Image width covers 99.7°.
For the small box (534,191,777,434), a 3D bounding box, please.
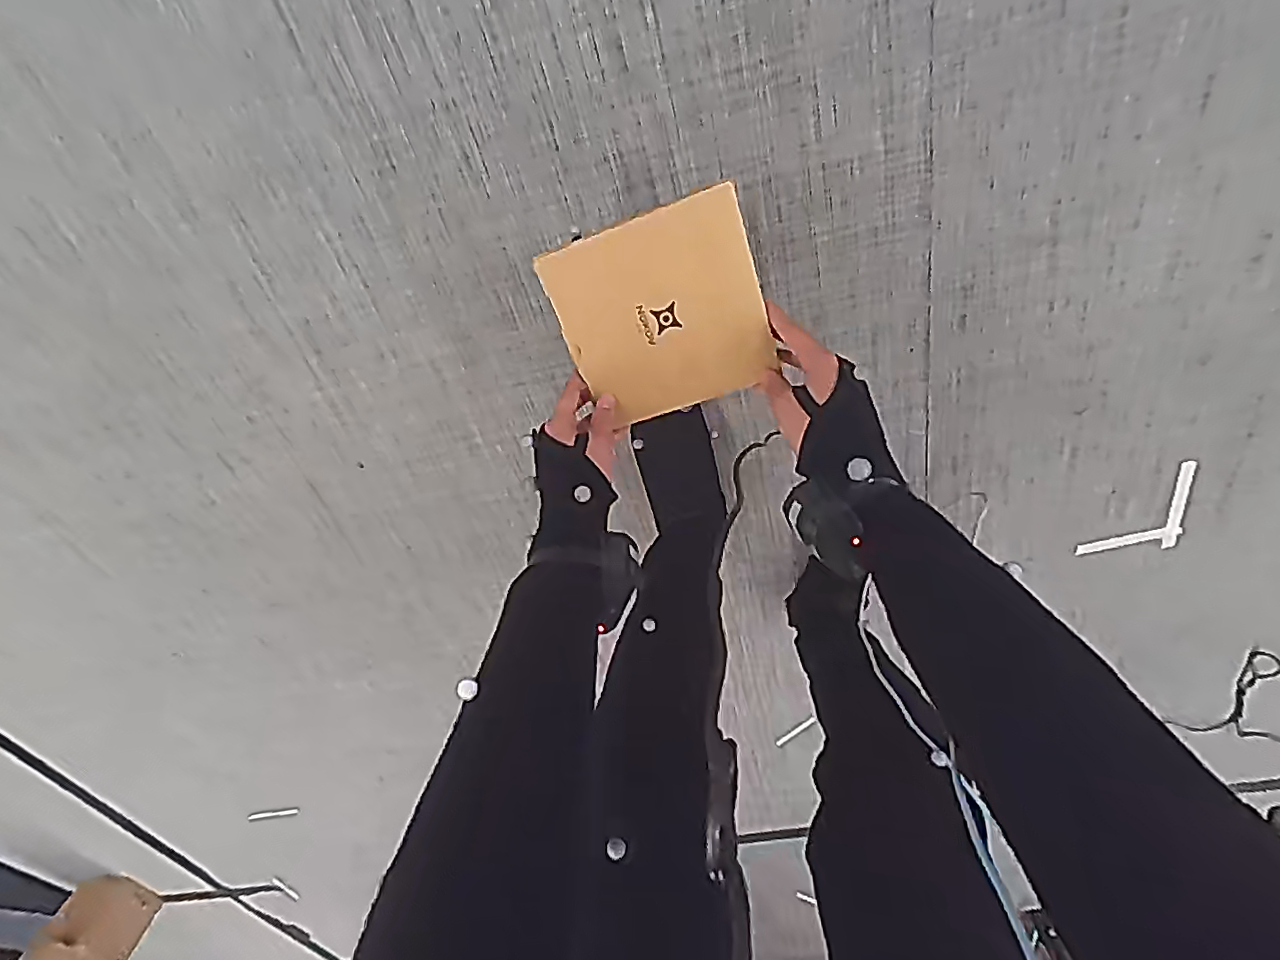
[{"bbox_3d":[0.022,-0.174,0.540,0.179,0.176,0.168,-16,116,14],"label":"small box"}]
